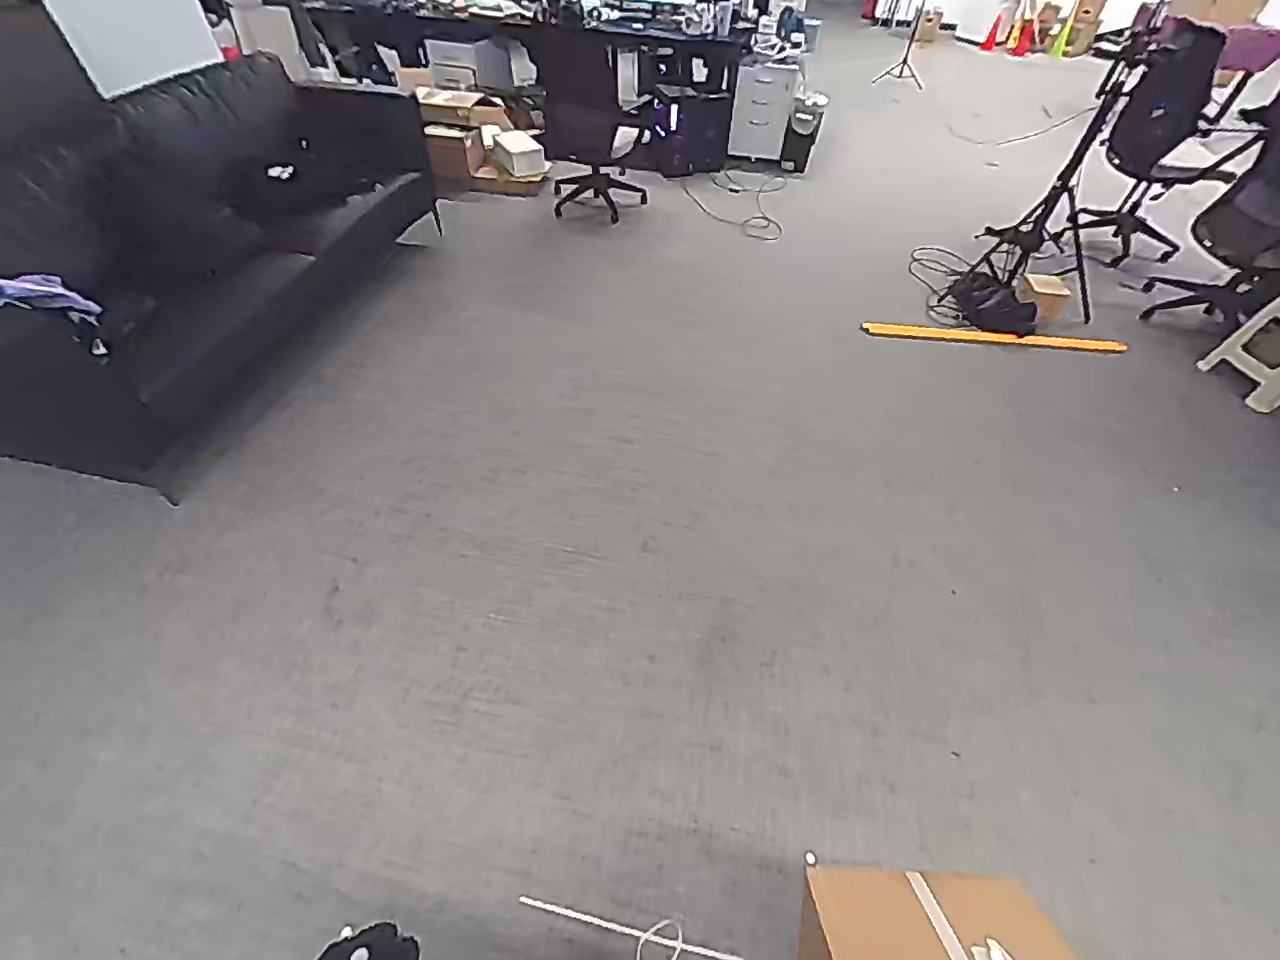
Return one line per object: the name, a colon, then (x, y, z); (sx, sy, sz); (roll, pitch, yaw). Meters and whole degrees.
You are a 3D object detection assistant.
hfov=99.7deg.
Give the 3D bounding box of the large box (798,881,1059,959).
large box: (0.383, 0.777, 0.623); (0.320, 0.320, 0.408); (4, 6, 2)
